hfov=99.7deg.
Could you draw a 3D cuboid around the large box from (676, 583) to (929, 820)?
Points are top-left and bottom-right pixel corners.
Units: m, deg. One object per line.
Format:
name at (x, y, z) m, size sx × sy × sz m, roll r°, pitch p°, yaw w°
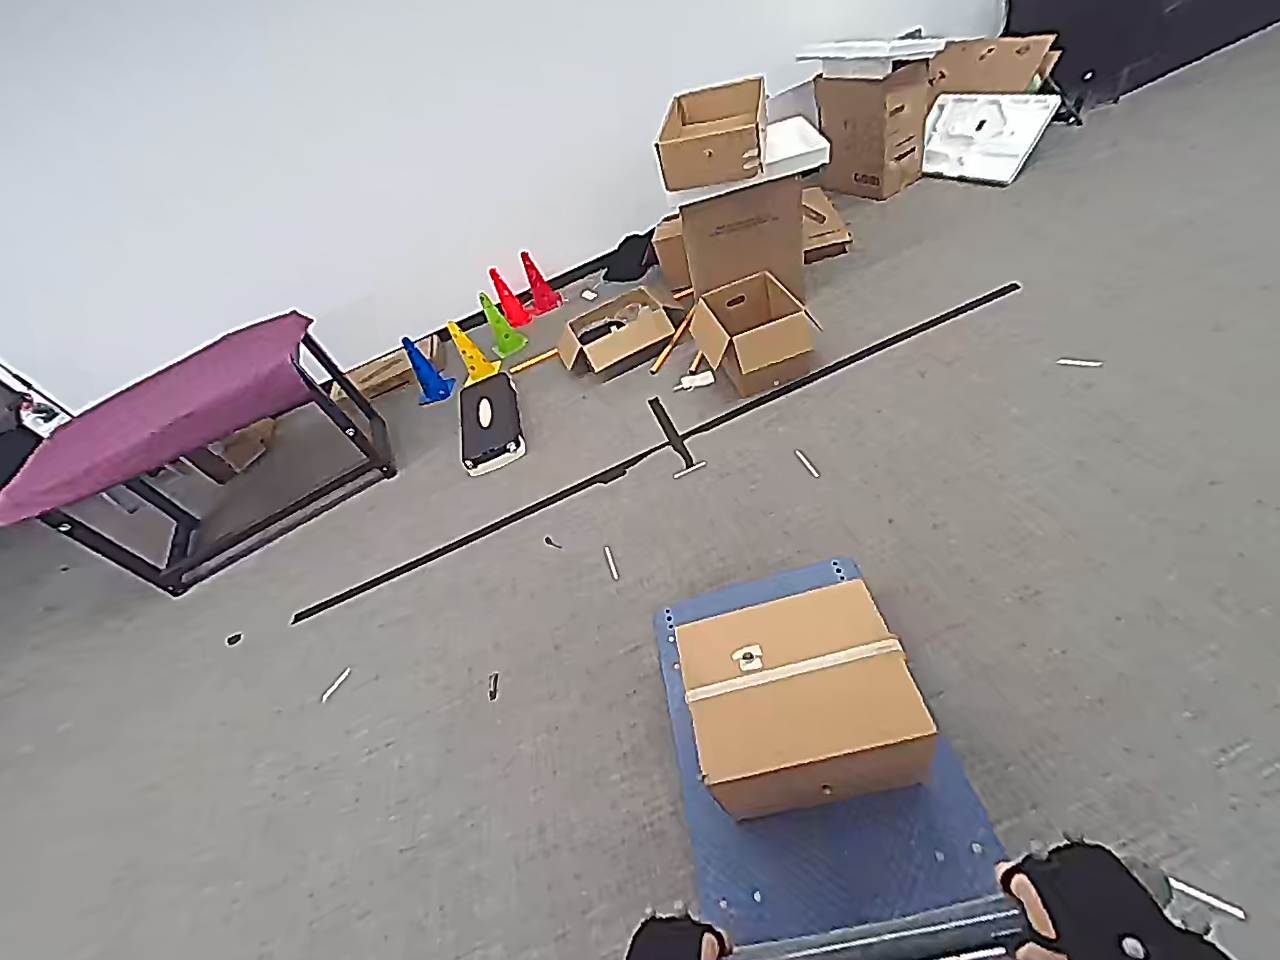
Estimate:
large box at (0.329, 0.473, 1.140) m, size 0.408 × 0.320 × 0.320 m, roll -18°, pitch 44°, yaw 8°
